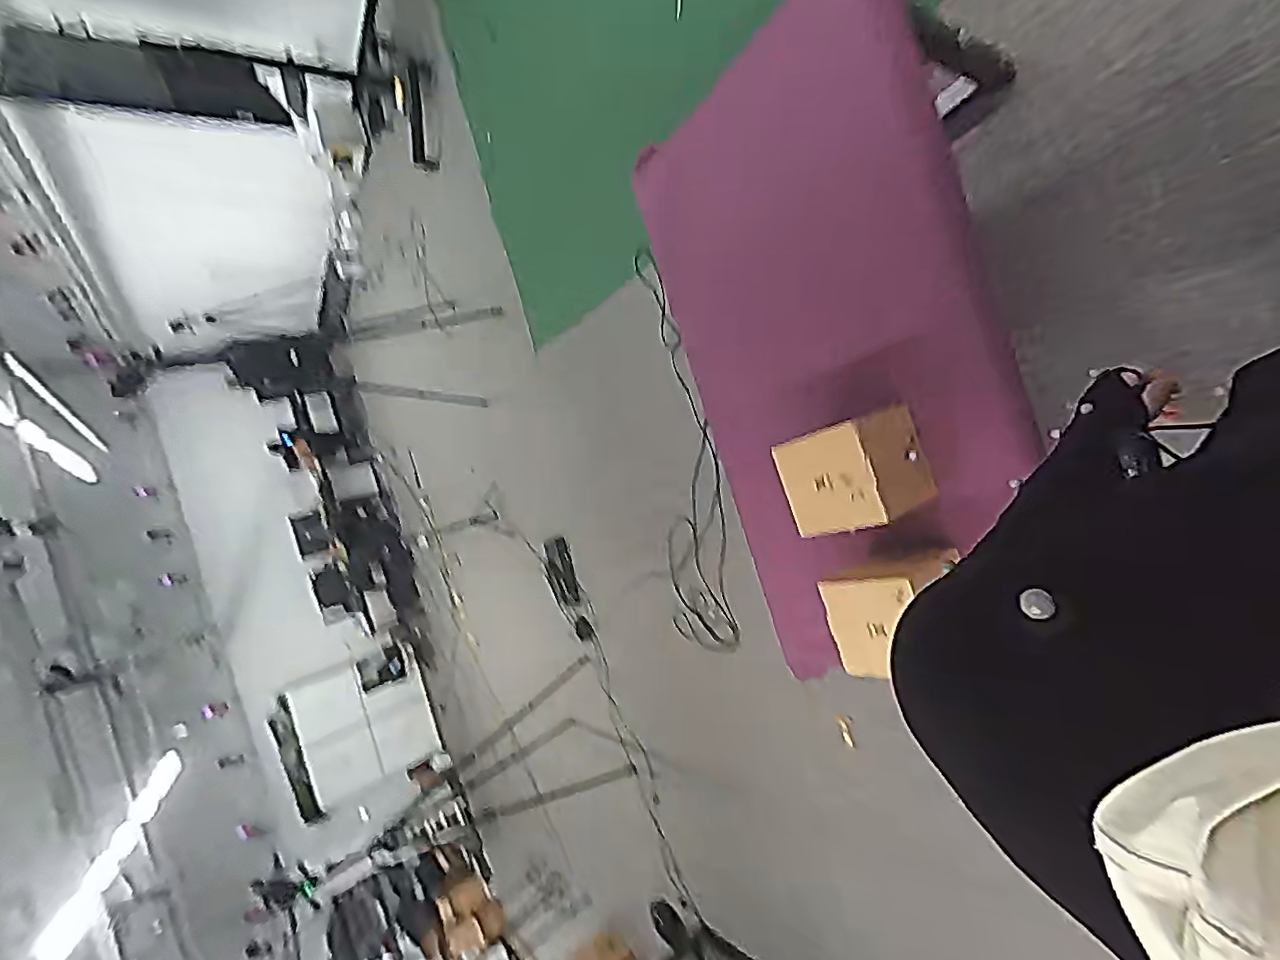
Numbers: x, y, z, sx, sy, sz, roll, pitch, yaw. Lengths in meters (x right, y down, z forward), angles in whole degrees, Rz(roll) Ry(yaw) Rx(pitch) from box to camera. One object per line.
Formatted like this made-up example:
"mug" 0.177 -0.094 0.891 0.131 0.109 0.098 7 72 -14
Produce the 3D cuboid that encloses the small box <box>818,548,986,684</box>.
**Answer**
"small box" 0.446 0.226 0.927 0.179 0.176 0.168 -22 87 55

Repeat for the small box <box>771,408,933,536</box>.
"small box" 0.366 -0.013 0.939 0.179 0.176 0.168 -22 86 54
